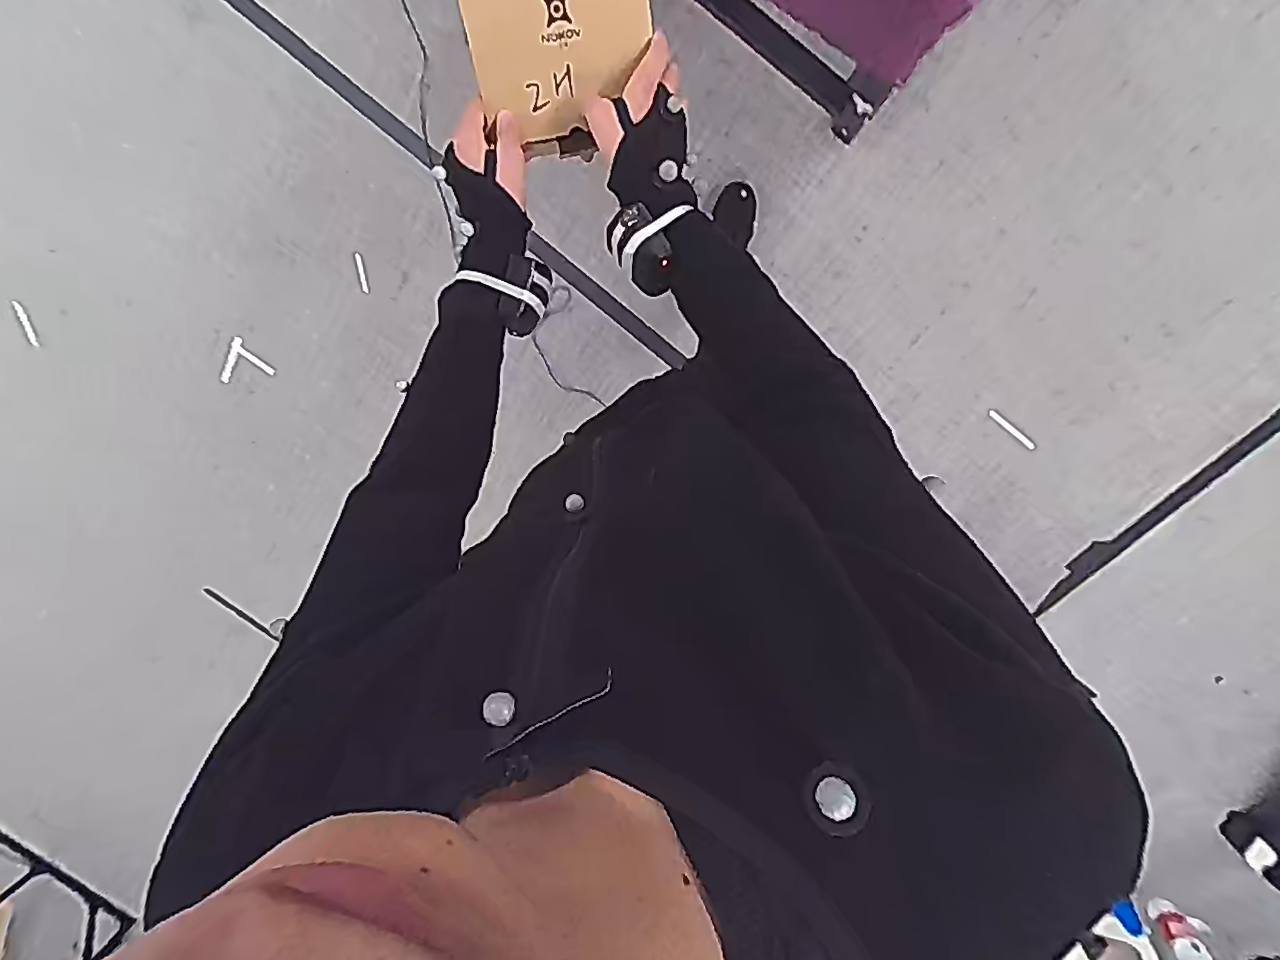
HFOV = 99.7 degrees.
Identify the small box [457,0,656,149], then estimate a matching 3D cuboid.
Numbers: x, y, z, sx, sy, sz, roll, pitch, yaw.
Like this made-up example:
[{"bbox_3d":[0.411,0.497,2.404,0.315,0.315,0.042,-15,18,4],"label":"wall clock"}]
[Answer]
[{"bbox_3d":[-0.078,-0.450,0.543,0.168,0.176,0.179,-7,118,4],"label":"small box"}]
